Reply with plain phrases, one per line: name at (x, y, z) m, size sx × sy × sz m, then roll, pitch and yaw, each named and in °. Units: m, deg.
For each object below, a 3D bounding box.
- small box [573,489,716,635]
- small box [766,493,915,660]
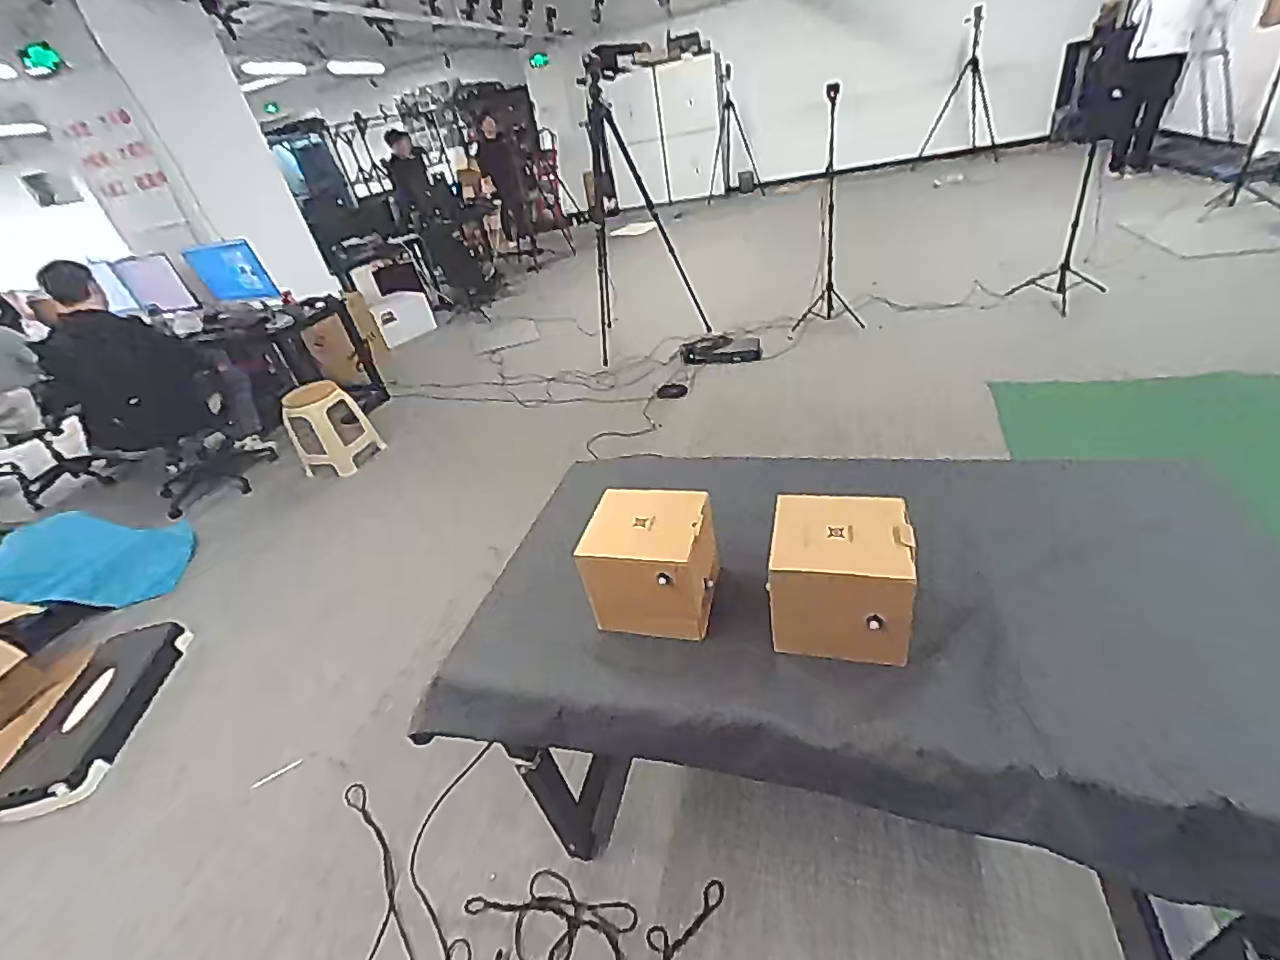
small box at (0.018, 0.130, 0.870) m, size 0.179 × 0.176 × 0.168 m, roll 1°, pitch 36°, yaw 18°
small box at (0.281, 0.135, 0.773) m, size 0.179 × 0.176 × 0.168 m, roll -1°, pitch 34°, yaw 20°
